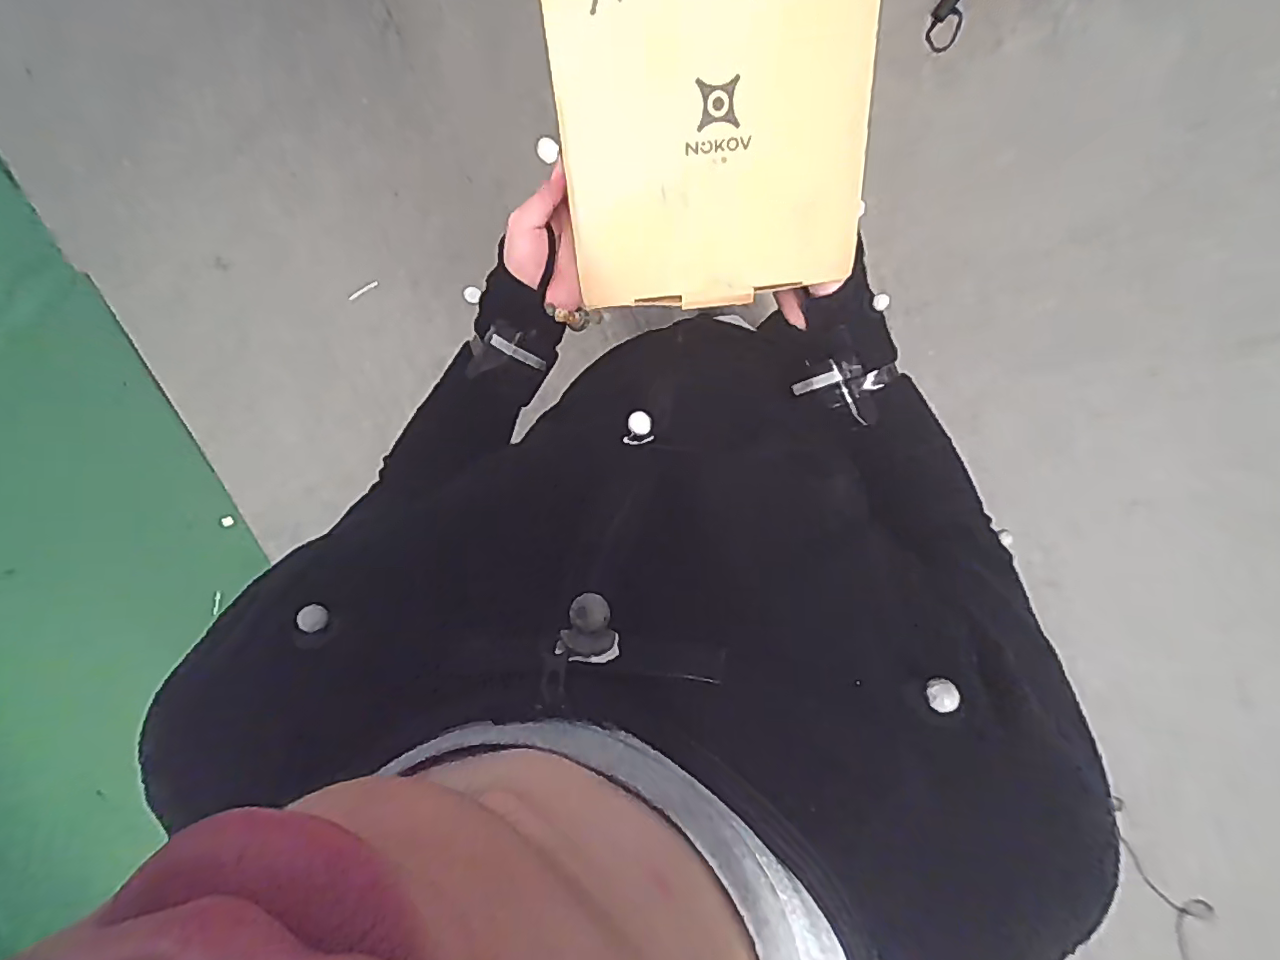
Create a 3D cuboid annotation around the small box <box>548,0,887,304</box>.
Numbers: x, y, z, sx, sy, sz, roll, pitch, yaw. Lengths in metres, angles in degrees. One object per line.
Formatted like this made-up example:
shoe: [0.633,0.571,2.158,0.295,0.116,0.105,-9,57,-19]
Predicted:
small box: [0.034,-0.228,0.350,0.168,0.176,0.179,-8,121,-3]
